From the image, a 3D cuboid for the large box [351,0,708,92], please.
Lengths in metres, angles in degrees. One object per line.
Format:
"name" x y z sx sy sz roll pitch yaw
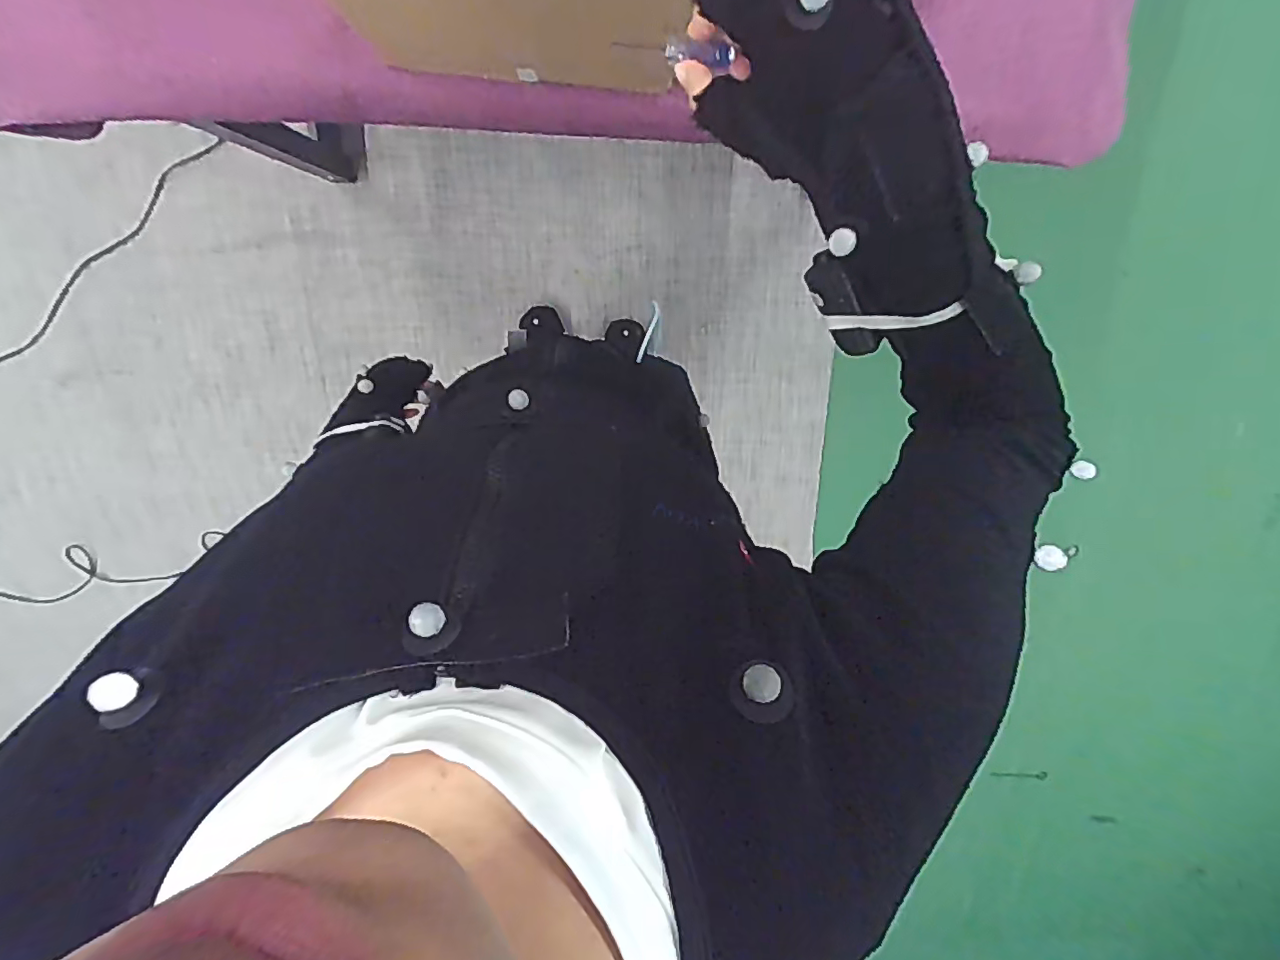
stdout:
"large box" -0.088 -0.587 0.400 0.320 0.320 0.408 3 109 -5
